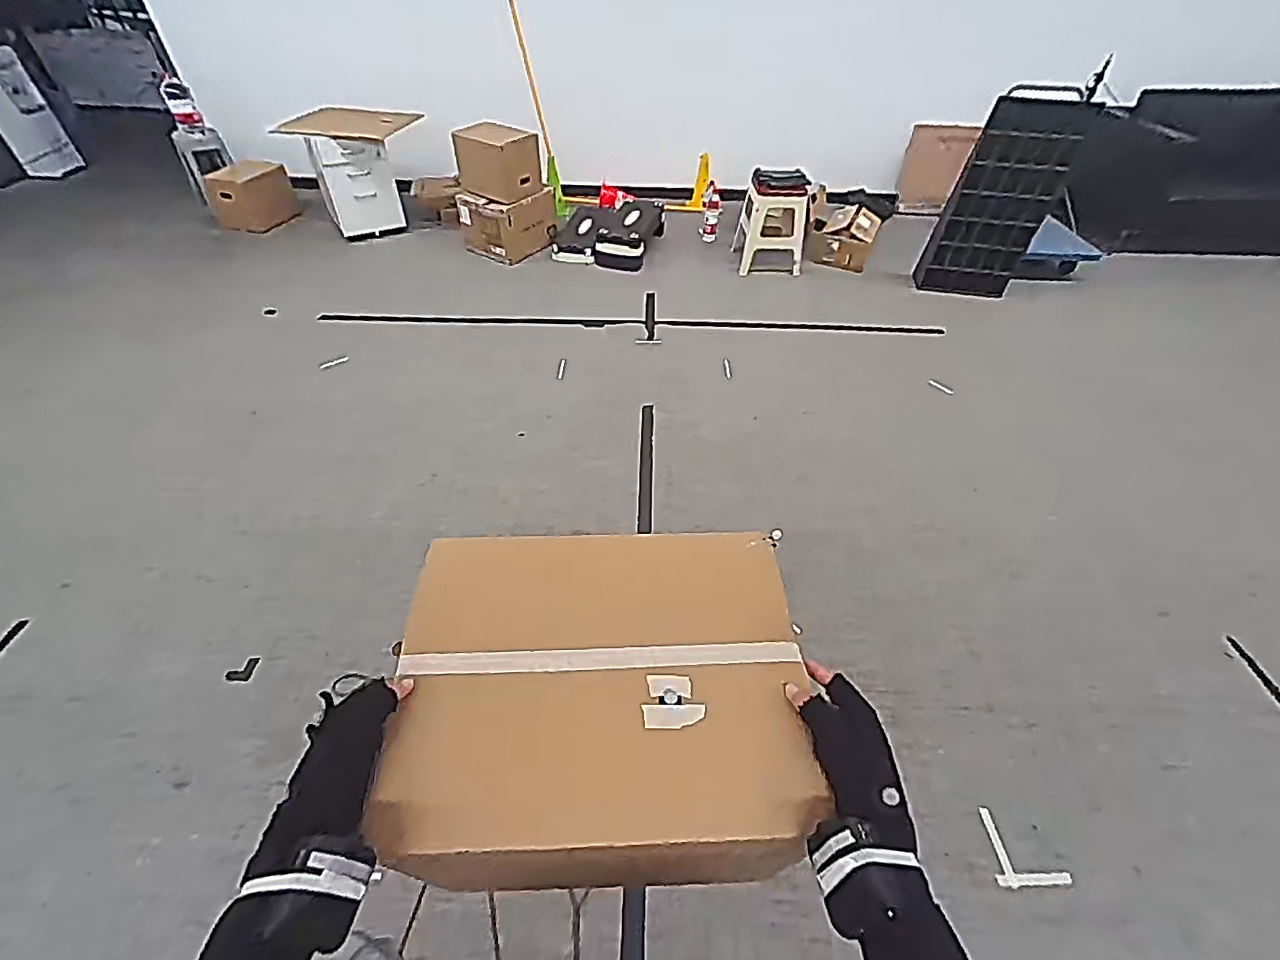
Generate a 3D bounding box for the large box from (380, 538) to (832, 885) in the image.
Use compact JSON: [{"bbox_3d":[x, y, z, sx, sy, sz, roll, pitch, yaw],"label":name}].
[{"bbox_3d":[-0.038,0.289,0.677,0.408,0.320,0.320,0,49,-2],"label":"large box"}]
